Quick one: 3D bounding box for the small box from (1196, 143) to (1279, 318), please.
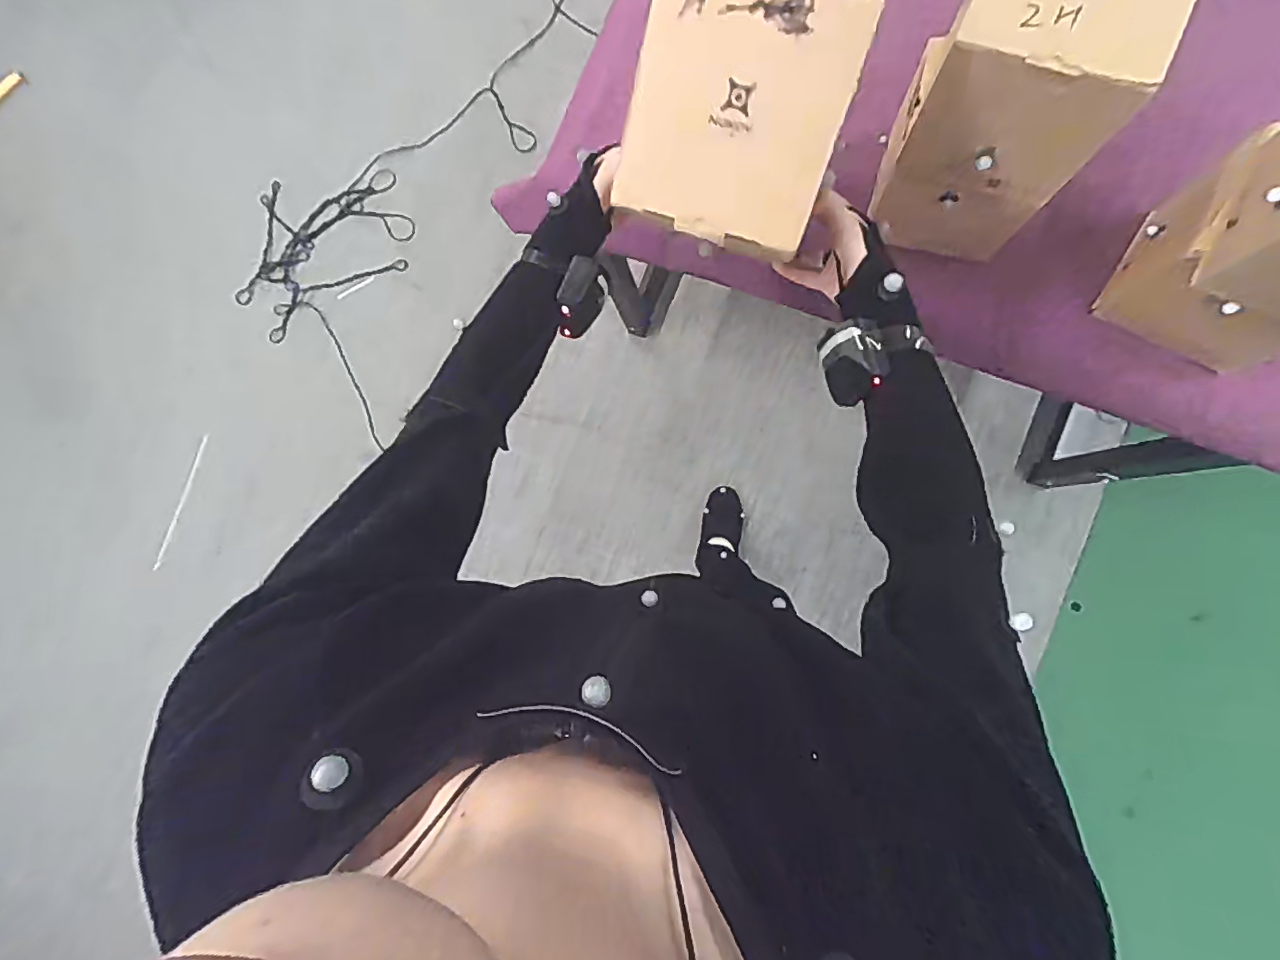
[{"bbox_3d":[0.667,-0.241,0.471,0.179,0.176,0.168,26,89,11],"label":"small box"}]

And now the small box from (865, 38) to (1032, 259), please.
[{"bbox_3d":[0.409,-0.408,0.691,0.179,0.176,0.168,16,88,9],"label":"small box"}]

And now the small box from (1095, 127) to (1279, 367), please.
[{"bbox_3d":[0.706,-0.252,0.632,0.179,0.176,0.168,32,90,12],"label":"small box"}]

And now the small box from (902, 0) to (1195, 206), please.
[{"bbox_3d":[0.385,-0.413,0.528,0.168,0.176,0.179,23,89,10],"label":"small box"}]
